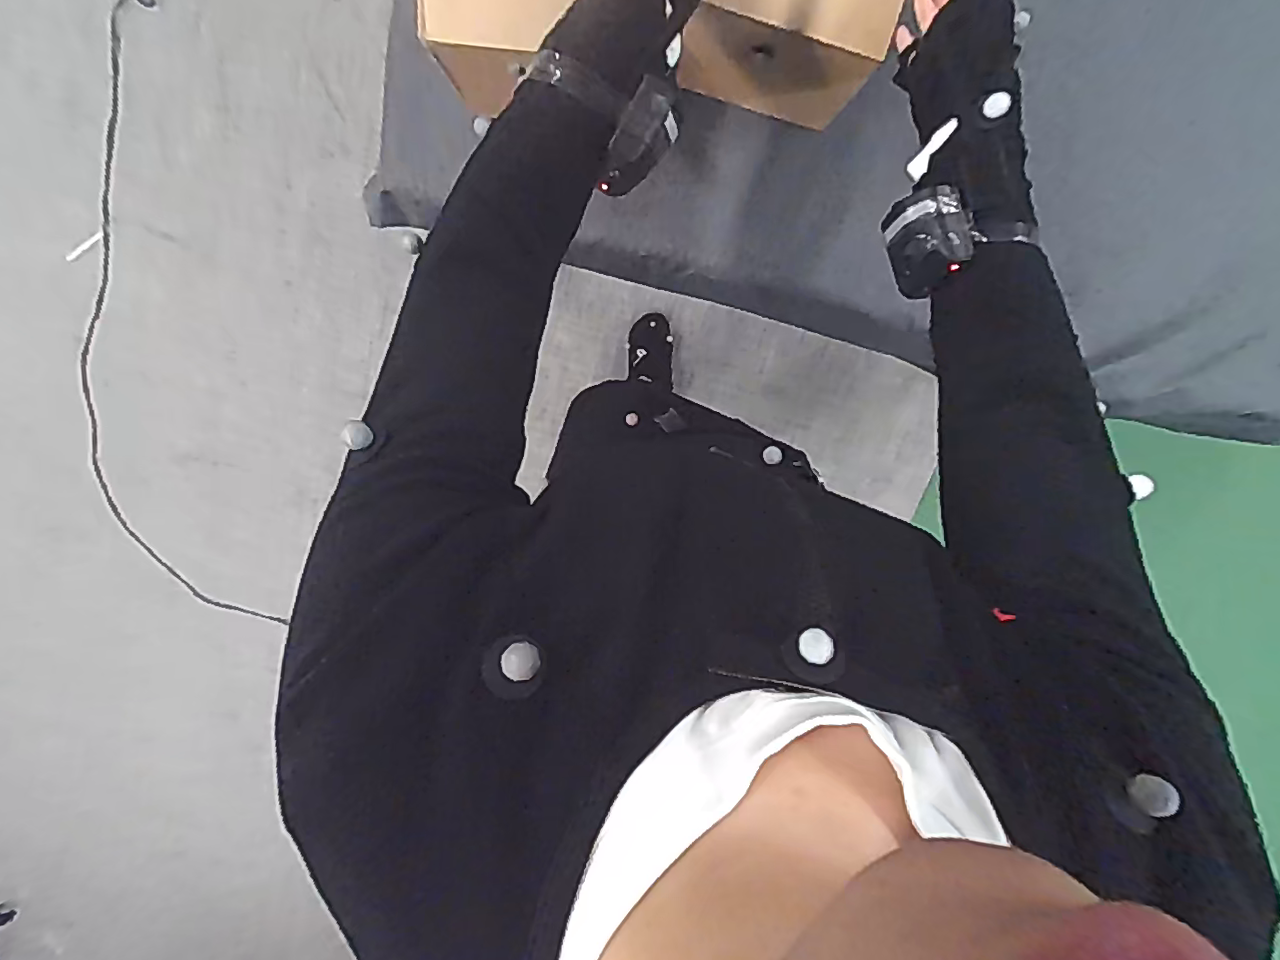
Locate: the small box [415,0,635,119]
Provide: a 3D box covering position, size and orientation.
[{"bbox_3d":[-0.095,-0.469,0.512,0.179,0.176,0.168,4,106,-2],"label":"small box"}]
